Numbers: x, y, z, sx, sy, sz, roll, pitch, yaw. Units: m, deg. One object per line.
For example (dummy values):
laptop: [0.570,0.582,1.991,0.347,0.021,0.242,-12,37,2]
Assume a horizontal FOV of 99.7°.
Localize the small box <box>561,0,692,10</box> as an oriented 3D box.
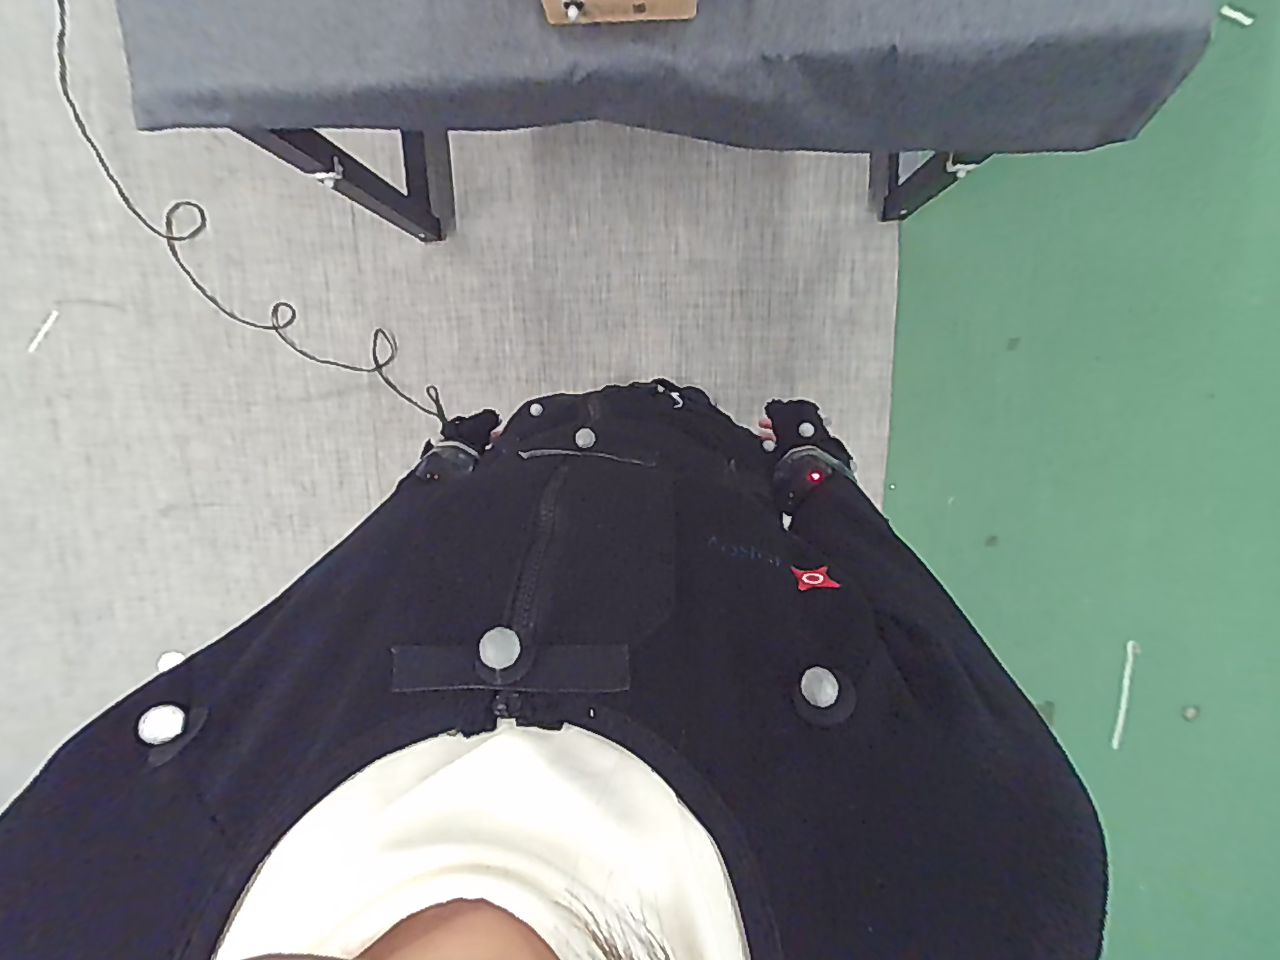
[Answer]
small box: [-0.023,-0.599,0.520,0.168,0.176,0.179,0,98,3]
